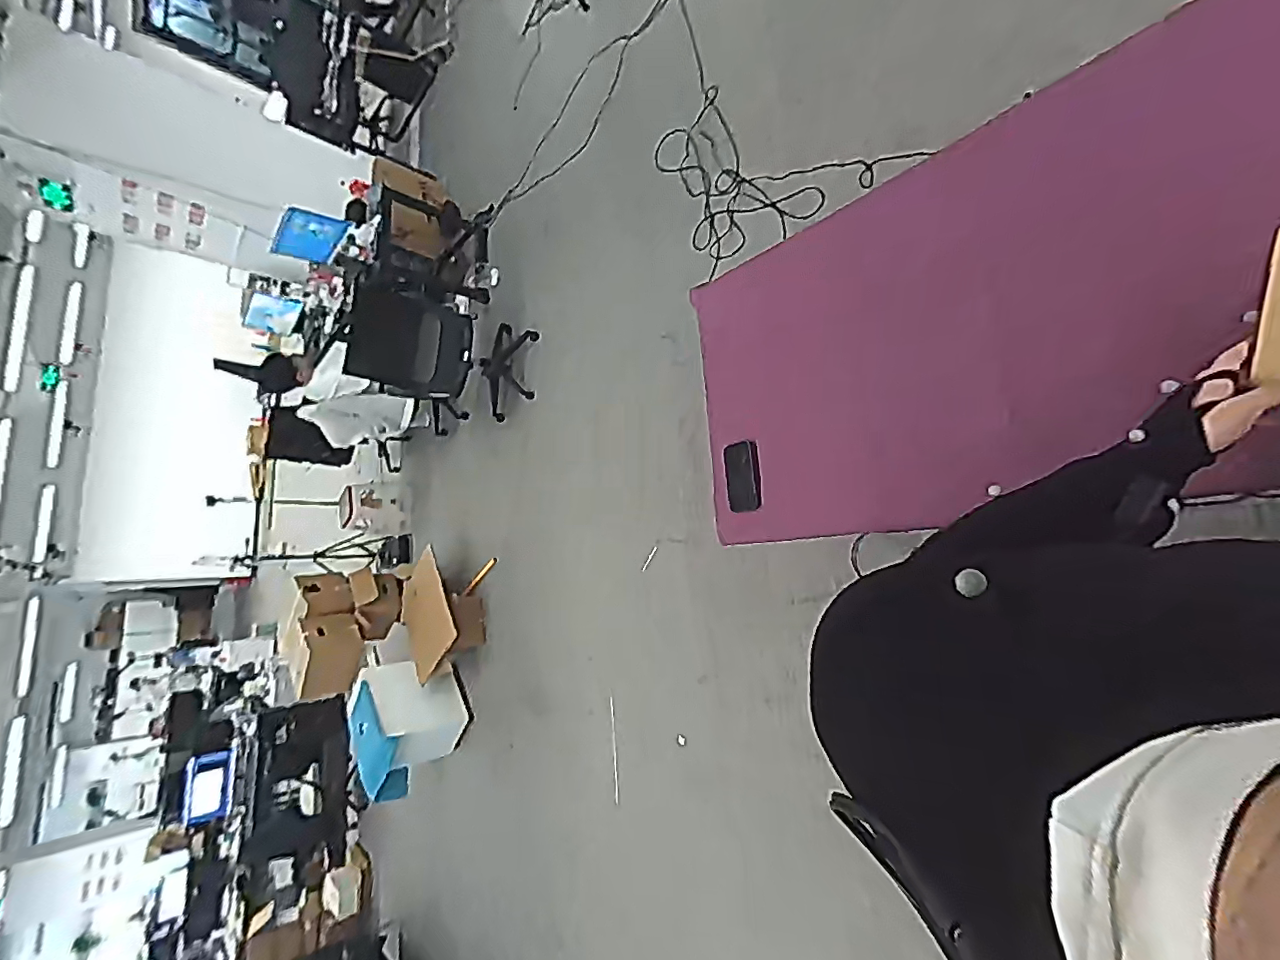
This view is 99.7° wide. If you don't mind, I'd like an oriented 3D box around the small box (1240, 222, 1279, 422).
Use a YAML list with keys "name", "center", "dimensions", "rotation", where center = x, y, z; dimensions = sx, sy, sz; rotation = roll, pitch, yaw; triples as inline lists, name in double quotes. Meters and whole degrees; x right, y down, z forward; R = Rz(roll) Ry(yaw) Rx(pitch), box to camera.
- name: "small box"
  center: [0.718, -0.151, 0.524]
  dimensions: [0.168, 0.176, 0.179]
  rotation: [11, 94, 48]
